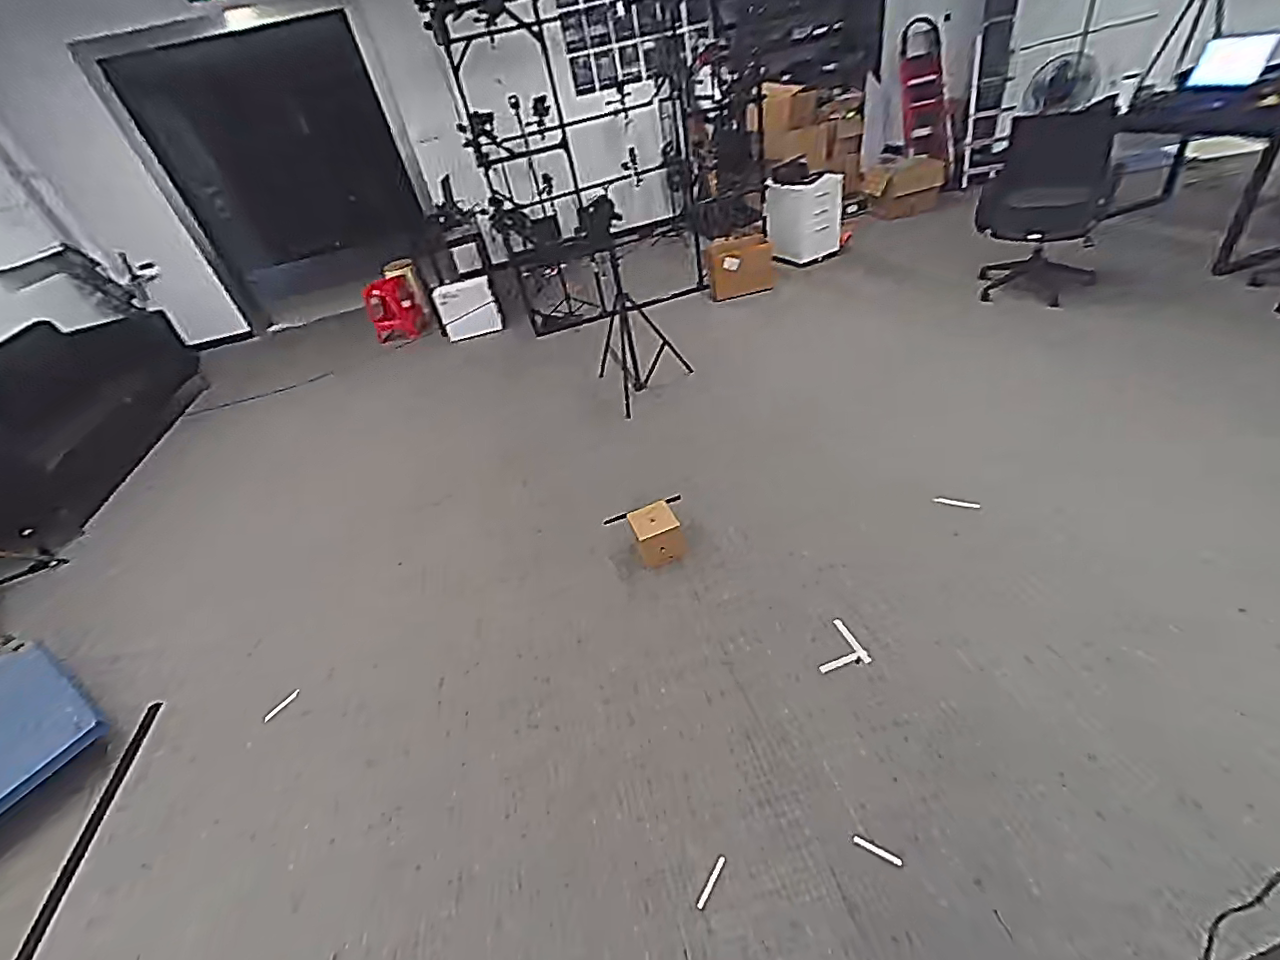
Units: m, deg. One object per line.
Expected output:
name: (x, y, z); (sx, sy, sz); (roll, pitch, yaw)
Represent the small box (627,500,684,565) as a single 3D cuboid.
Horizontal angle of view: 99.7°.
small box: (0.063, 0.216, 2.139); (0.168, 0.176, 0.179); (-20, 37, -9)
